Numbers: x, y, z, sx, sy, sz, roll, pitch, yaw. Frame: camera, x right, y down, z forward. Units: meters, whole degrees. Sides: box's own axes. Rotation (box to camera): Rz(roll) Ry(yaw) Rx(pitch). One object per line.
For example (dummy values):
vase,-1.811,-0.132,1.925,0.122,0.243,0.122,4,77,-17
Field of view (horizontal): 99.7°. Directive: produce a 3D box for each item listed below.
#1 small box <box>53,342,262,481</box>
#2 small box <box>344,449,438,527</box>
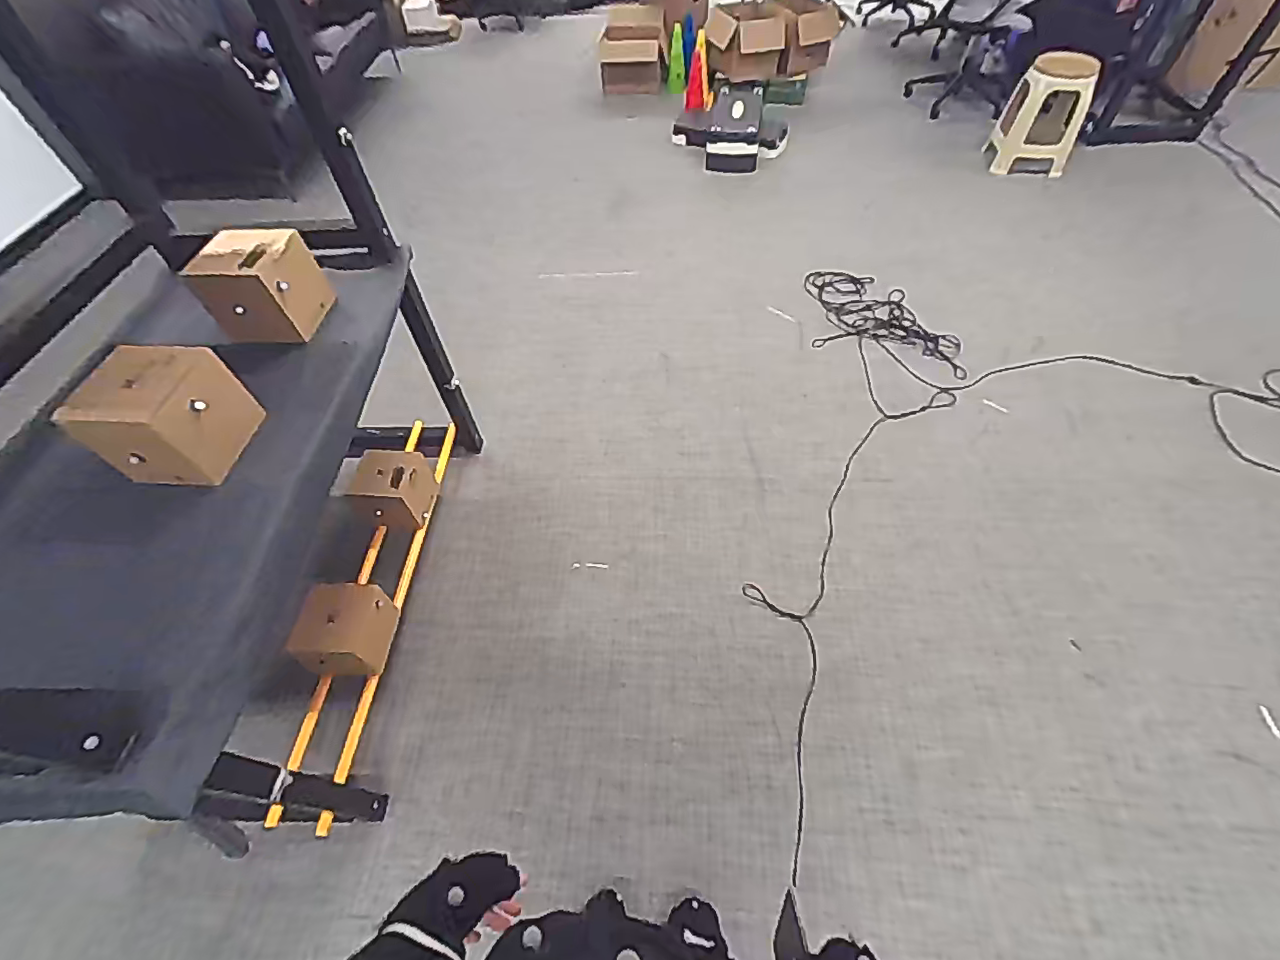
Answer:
small box,-0.805,-0.114,0.930,0.168,0.176,0.179,3,54,5
small box,-0.724,0.026,1.597,0.179,0.176,0.168,3,54,5
